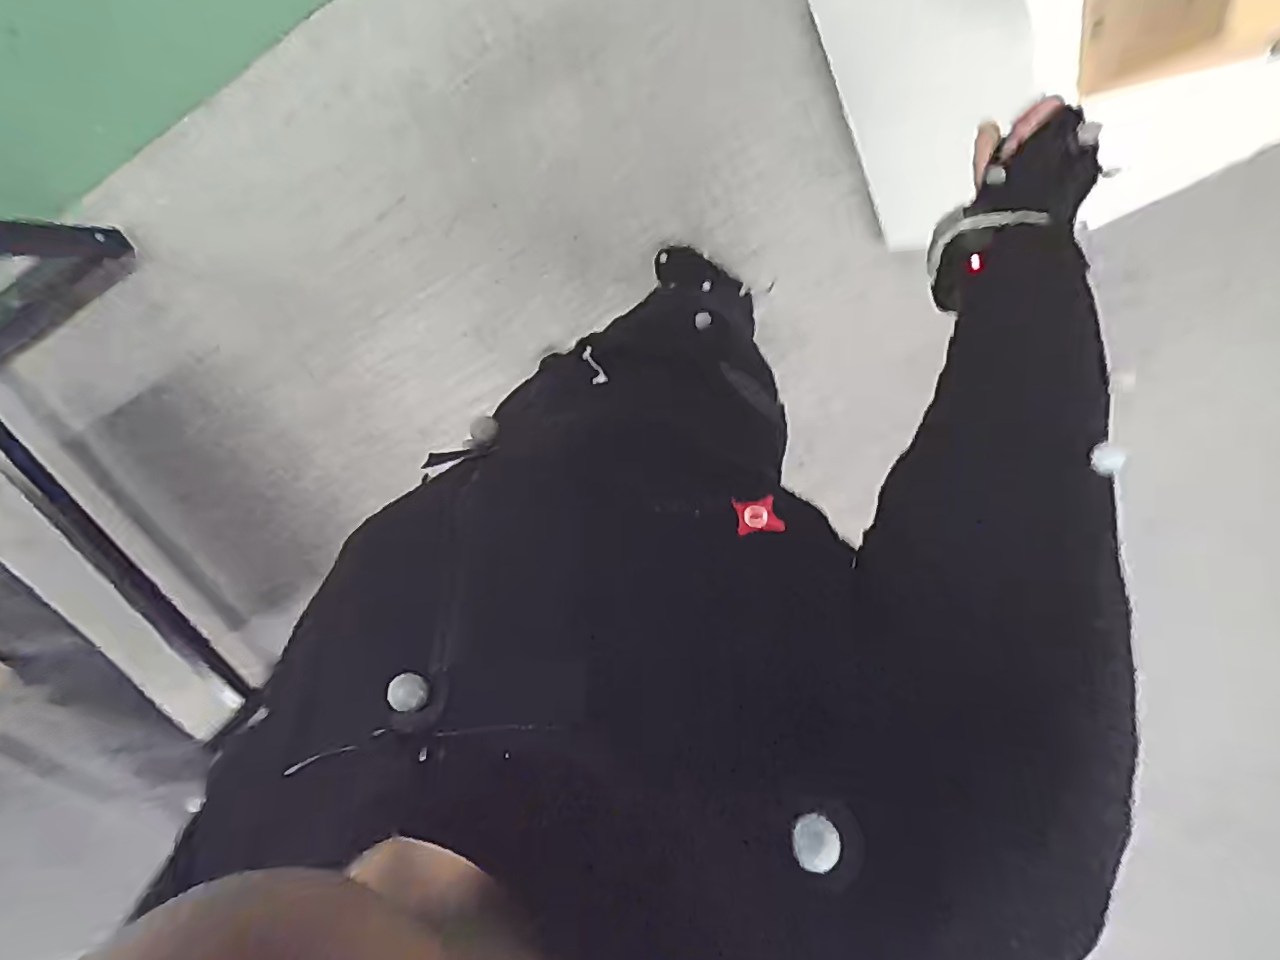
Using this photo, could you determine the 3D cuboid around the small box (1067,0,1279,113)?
[{"bbox_3d":[0.530,-0.450,0.473,0.179,0.176,0.168,-9,111,6],"label":"small box"}]
